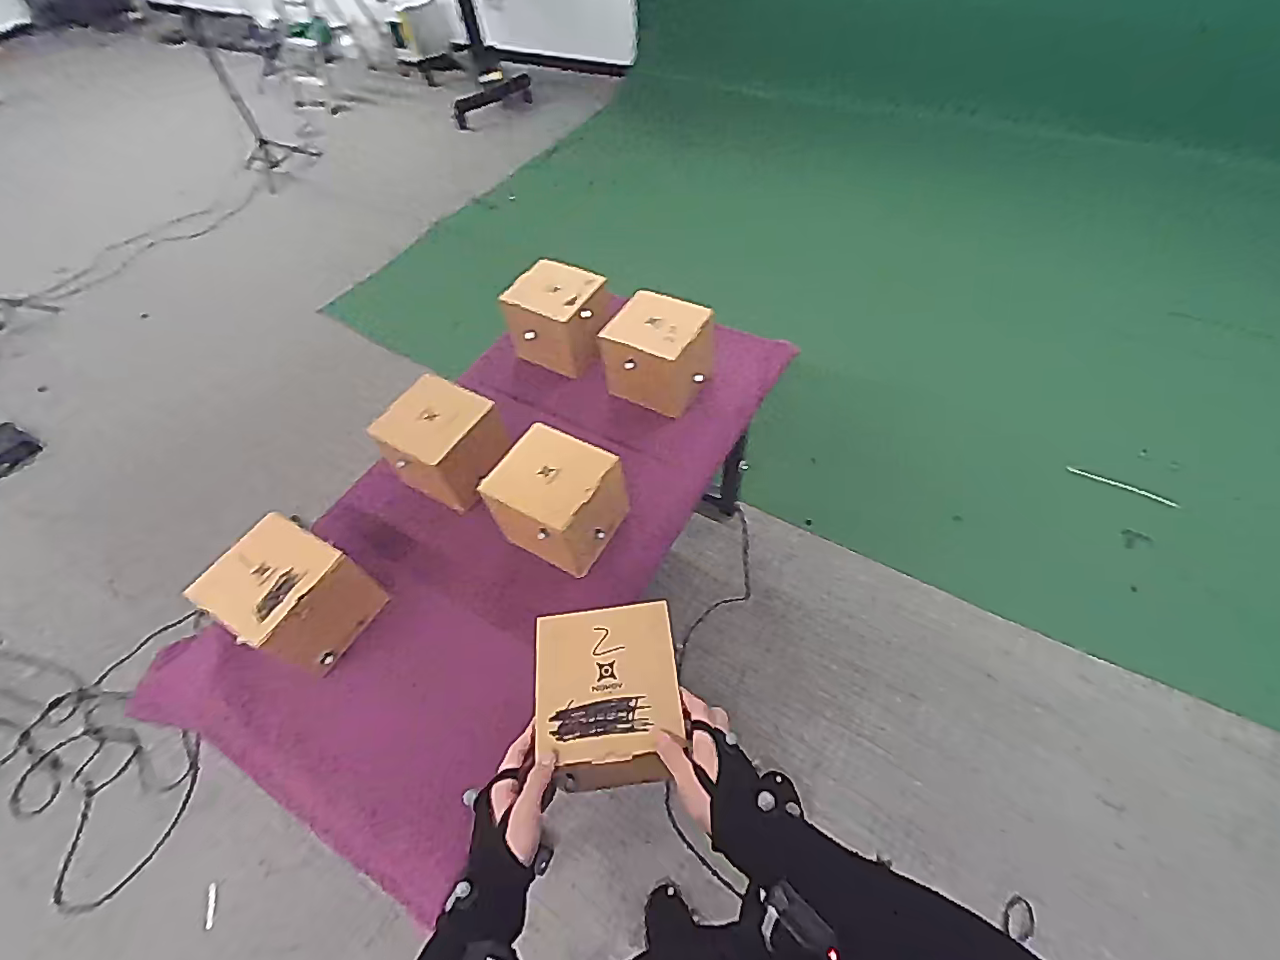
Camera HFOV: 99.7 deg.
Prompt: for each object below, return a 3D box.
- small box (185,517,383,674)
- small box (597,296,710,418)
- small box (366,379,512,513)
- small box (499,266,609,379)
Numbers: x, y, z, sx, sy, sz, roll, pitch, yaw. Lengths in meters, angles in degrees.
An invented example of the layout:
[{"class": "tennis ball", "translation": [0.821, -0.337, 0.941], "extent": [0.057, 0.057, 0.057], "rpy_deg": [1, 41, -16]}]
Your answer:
[{"class": "small box", "translation": [-0.565, 0.195, 0.884], "extent": [0.179, 0.176, 0.168], "rpy_deg": [23, 59, 20]}, {"class": "small box", "translation": [0.034, -0.258, 1.152], "extent": [0.179, 0.176, 0.168], "rpy_deg": [24, 61, 22]}, {"class": "small box", "translation": [-0.381, -0.061, 1.054], "extent": [0.179, 0.176, 0.168], "rpy_deg": [25, 61, 20]}, {"class": "small box", "translation": [-0.189, -0.359, 1.247], "extent": [0.179, 0.176, 0.168], "rpy_deg": [23, 60, 20]}]
